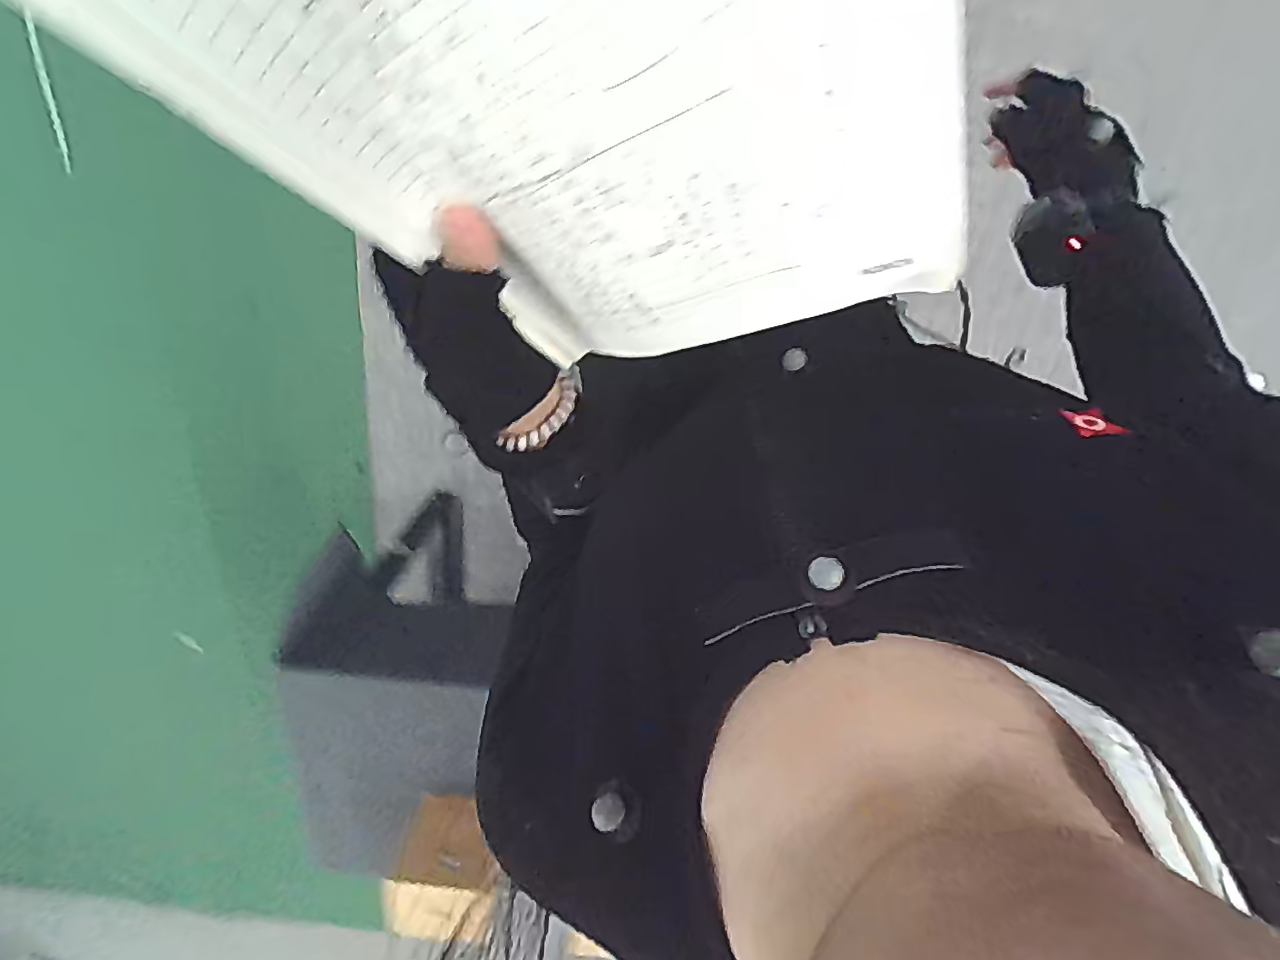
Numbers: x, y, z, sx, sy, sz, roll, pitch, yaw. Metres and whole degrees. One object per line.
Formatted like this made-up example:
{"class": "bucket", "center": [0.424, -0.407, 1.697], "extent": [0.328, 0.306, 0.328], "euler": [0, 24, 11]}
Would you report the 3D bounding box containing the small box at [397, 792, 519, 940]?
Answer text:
{"class": "small box", "center": [-0.341, 0.732, 1.036], "extent": [0.179, 0.176, 0.168], "euler": [7, 115, -2]}
